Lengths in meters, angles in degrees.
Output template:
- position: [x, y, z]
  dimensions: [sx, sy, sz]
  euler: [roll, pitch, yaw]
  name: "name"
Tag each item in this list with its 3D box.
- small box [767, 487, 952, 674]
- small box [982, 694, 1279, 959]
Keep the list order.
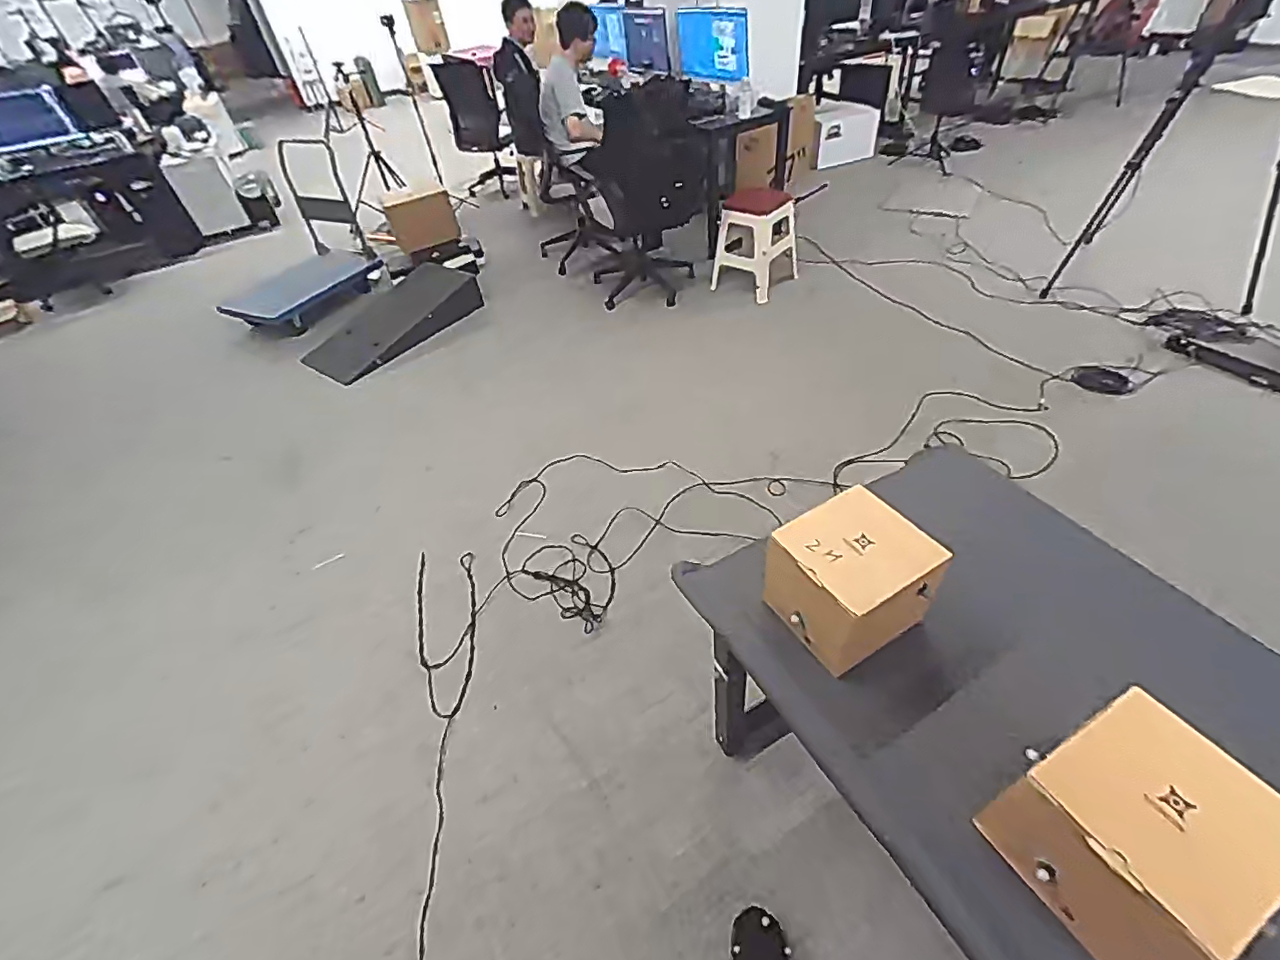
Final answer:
- position: [0.305, 0.147, 0.794]
  dimensions: [0.179, 0.176, 0.168]
  euler: [-25, 47, -18]
  name: "small box"
- position: [0.499, 0.362, 0.556]
  dimensions: [0.179, 0.176, 0.168]
  euler: [-25, 48, -17]
  name: "small box"
